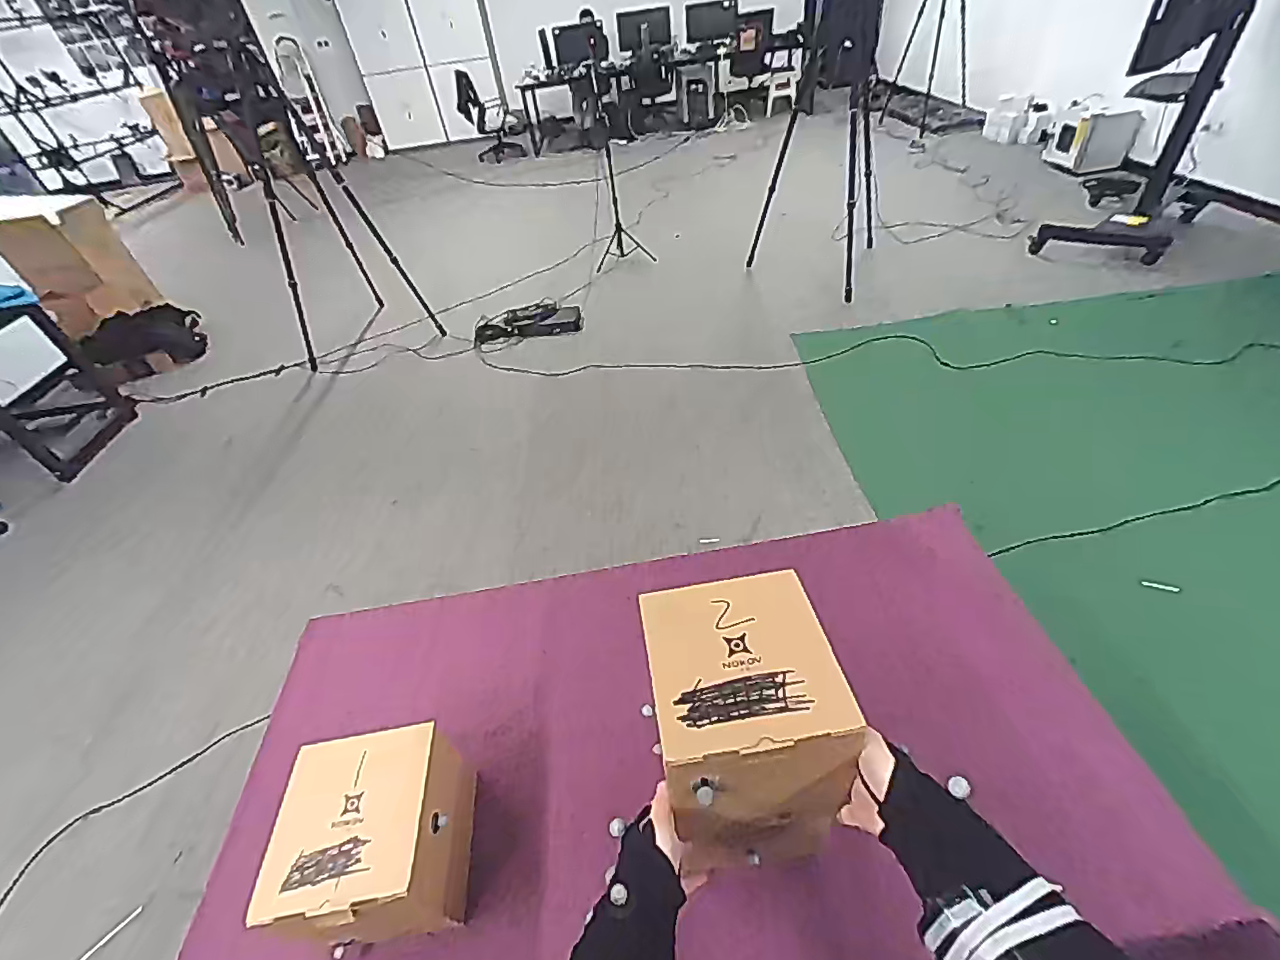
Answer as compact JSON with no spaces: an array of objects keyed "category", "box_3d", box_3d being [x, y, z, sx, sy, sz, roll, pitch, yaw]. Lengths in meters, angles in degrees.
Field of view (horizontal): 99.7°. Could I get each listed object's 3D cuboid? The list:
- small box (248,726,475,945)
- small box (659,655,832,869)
[{"category":"small box","box_3d":[-0.308,0.428,0.648,0.168,0.176,0.179,-10,41,-1]},{"category":"small box","box_3d":[0.117,0.343,0.660,0.168,0.176,0.179,-9,43,2]}]
